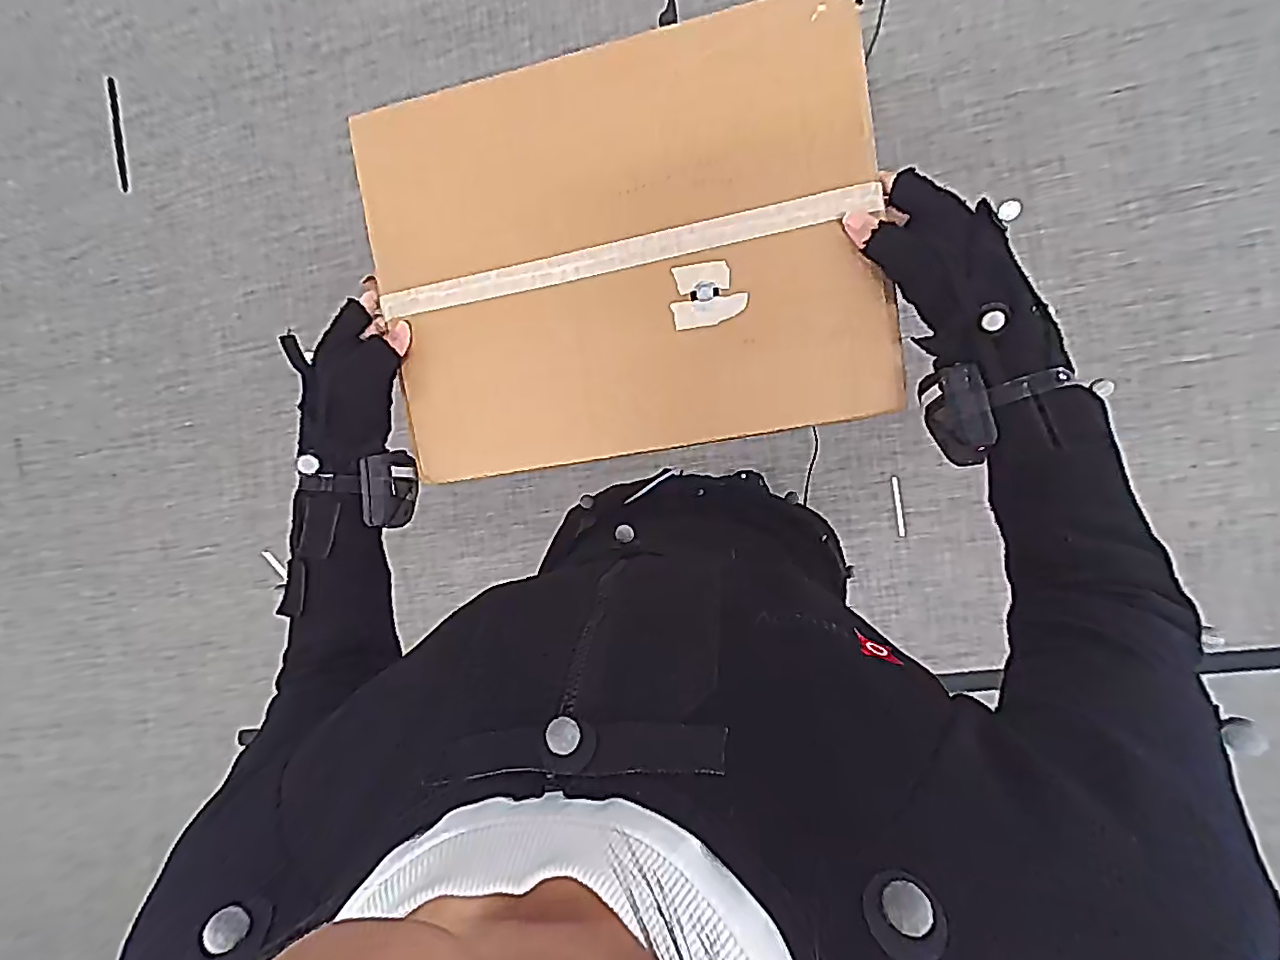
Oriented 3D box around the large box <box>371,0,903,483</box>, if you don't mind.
[{"bbox_3d":[0.006,-0.193,0.588,0.408,0.320,0.320,-9,95,9],"label":"large box"}]
